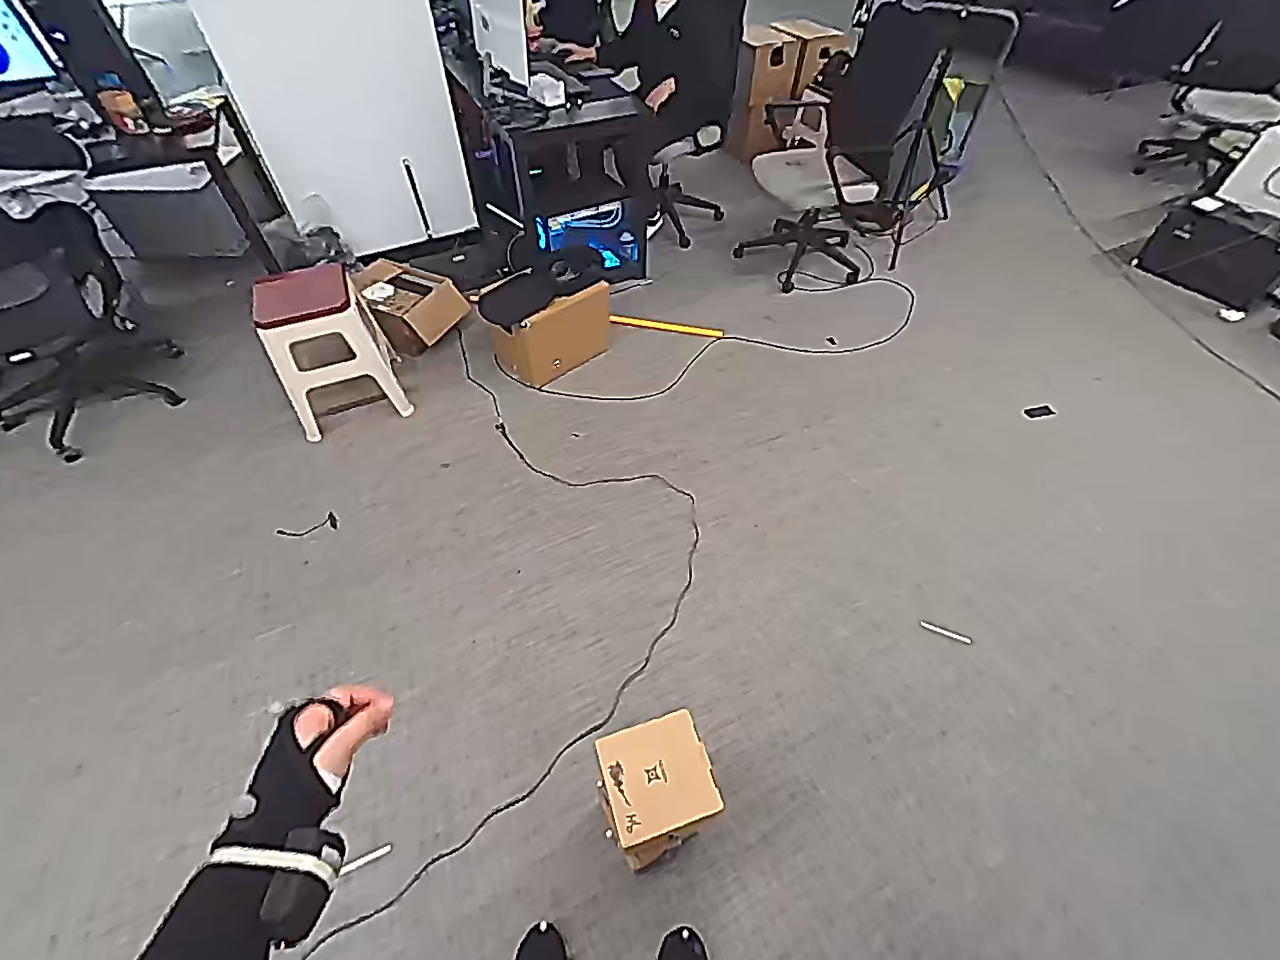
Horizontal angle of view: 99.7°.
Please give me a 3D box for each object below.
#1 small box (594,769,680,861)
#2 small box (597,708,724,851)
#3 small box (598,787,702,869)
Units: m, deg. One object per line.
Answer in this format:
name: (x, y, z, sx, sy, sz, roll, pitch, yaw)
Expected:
small box: (0.024, 0.636, 1.095, 0.179, 0.176, 0.168, -26, 57, -21)
small box: (0.028, 0.535, 0.965, 0.179, 0.176, 0.168, -14, 53, -13)
small box: (0.019, 0.741, 1.218, 0.179, 0.176, 0.168, -24, 55, -18)
